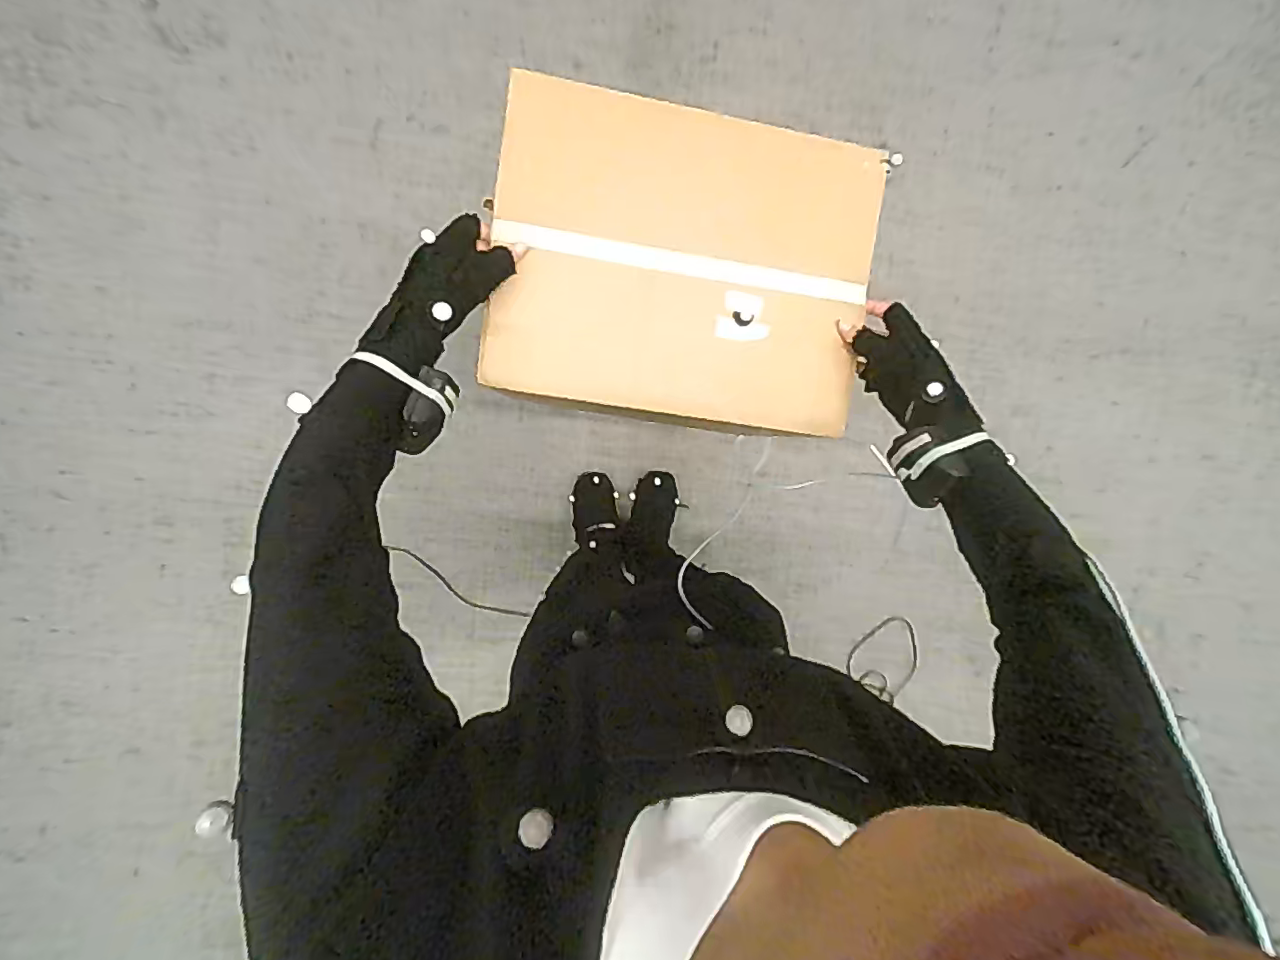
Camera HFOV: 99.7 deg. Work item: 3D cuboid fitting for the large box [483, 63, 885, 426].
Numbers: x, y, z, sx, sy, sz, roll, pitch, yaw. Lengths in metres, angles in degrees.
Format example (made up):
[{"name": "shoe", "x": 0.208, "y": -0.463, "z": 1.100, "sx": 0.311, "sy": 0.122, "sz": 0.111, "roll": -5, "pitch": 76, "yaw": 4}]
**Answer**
[{"name": "large box", "x": 0.032, "y": -0.252, "z": 0.715, "sx": 0.408, "sy": 0.320, "sz": 0.320, "roll": 8, "pitch": 95, "yaw": -8}]
